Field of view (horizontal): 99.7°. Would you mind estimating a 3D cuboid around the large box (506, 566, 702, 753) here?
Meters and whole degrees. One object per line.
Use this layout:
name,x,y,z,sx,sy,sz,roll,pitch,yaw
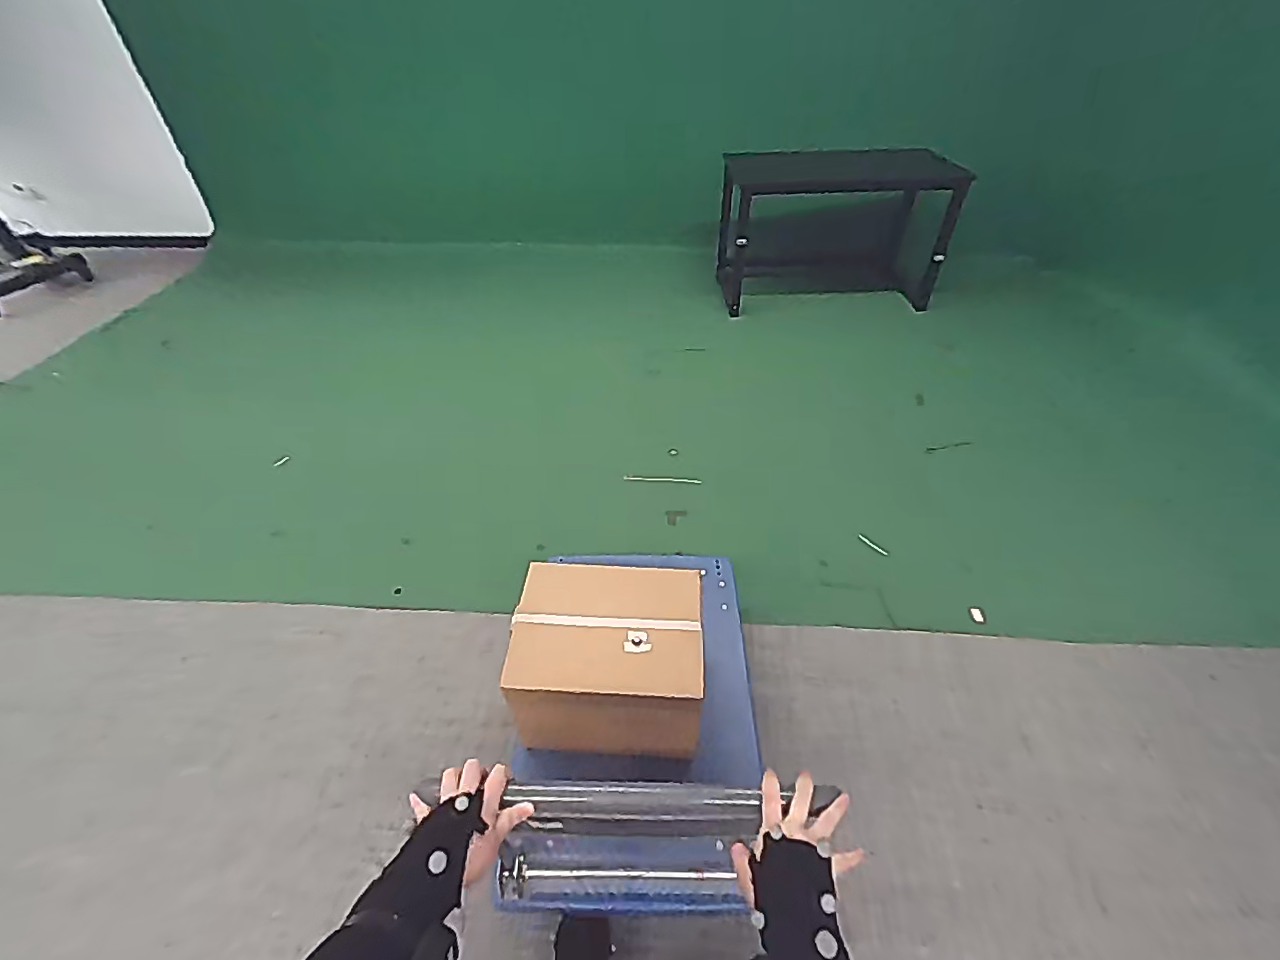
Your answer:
large box,-0.071,0.426,1.288,0.408,0.320,0.320,3,43,2
